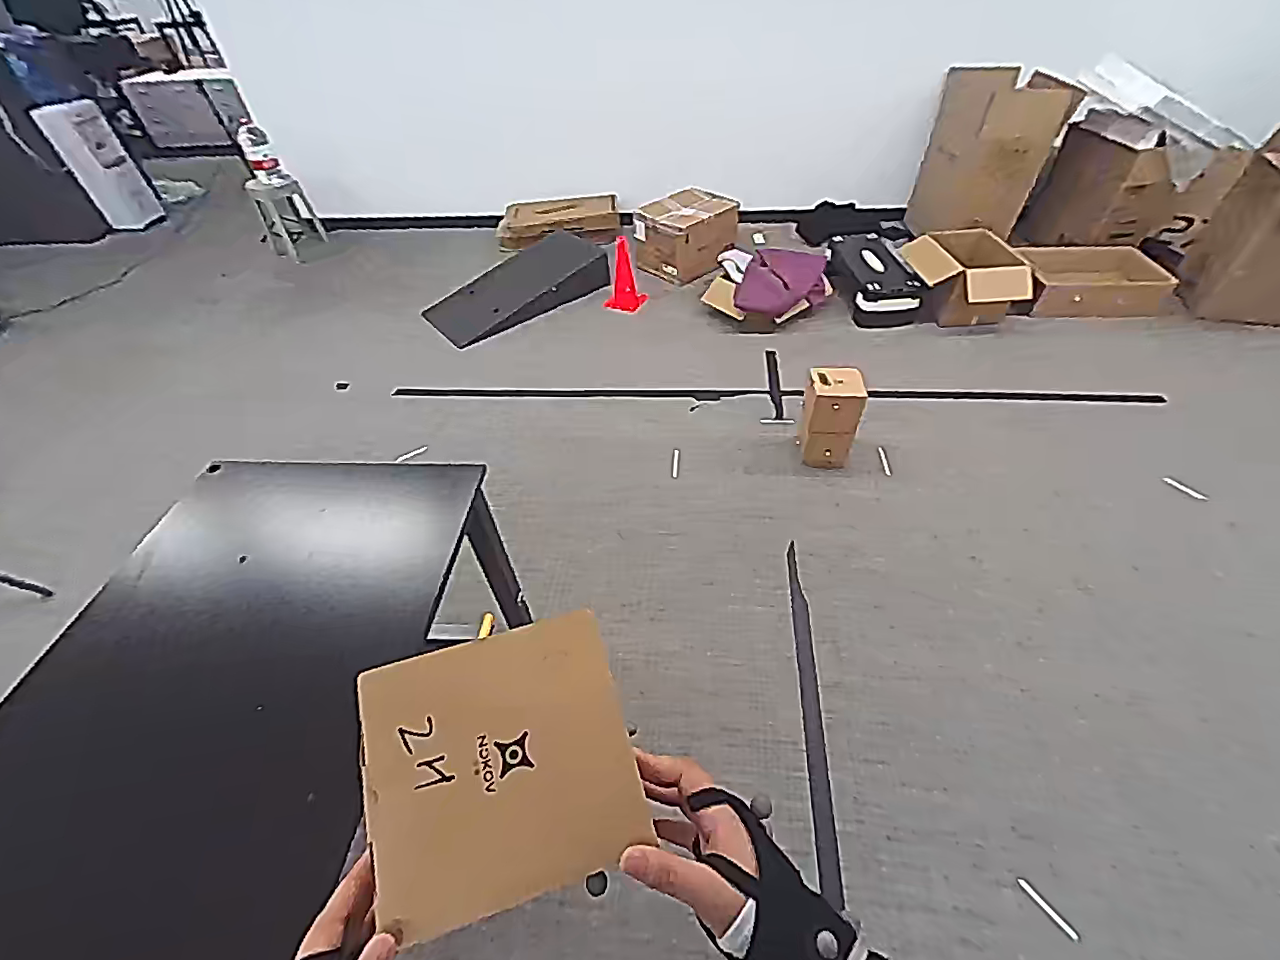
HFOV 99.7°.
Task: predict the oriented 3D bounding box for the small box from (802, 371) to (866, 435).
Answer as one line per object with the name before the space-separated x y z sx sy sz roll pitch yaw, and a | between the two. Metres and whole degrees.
small box | 0.692 -0.278 1.955 0.179 0.176 0.168 2 46 4

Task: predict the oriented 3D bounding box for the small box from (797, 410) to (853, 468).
small box | 0.704 -0.163 2.074 0.168 0.176 0.179 3 47 6

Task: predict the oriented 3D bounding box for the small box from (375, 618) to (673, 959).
small box | -0.090 0.229 0.436 0.179 0.176 0.168 -13 63 -12
